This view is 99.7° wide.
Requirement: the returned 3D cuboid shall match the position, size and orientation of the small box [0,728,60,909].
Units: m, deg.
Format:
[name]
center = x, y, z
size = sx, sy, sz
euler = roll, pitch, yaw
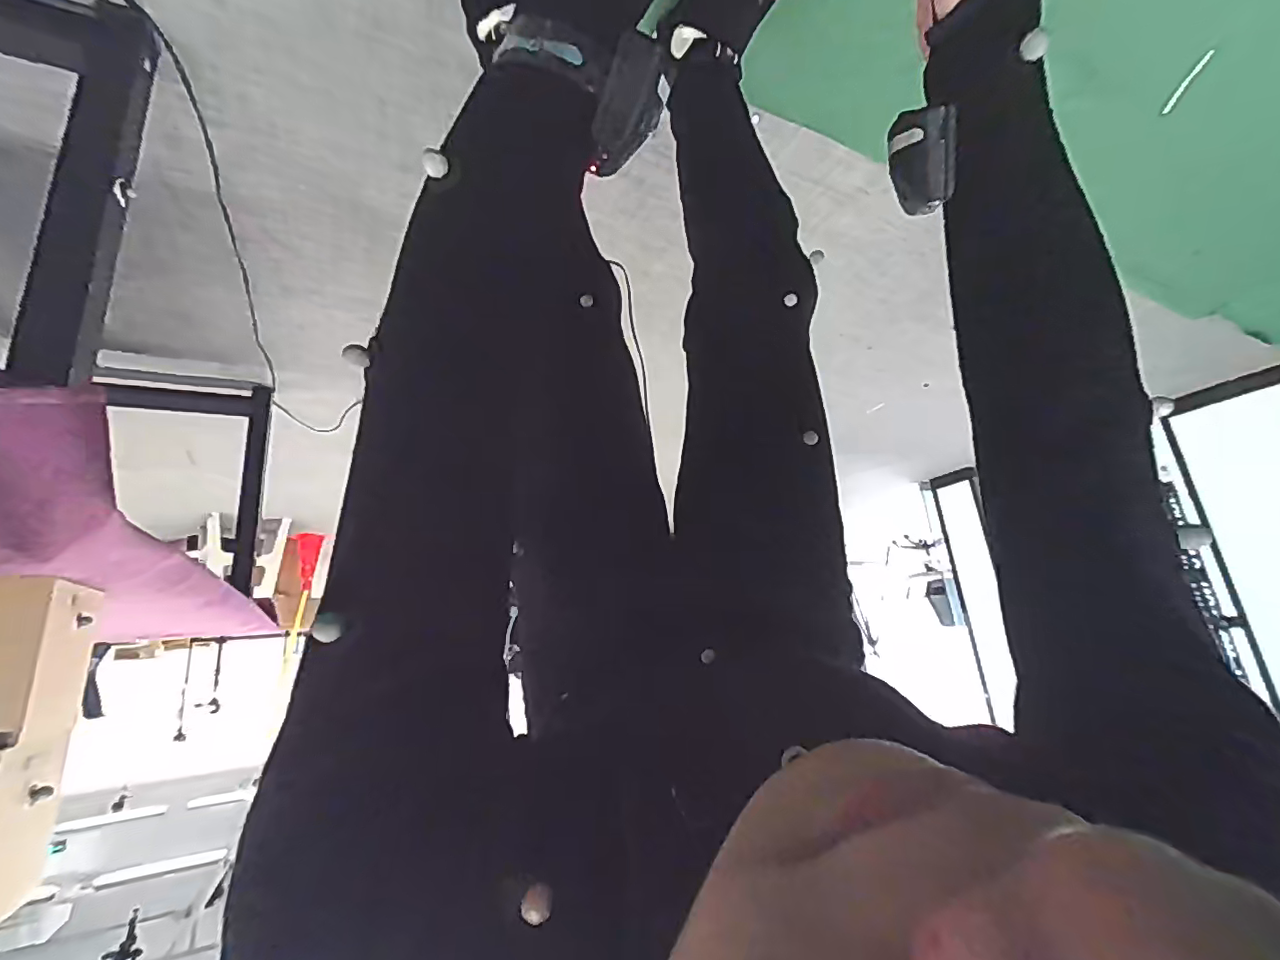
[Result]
[small box]
center = -0.711, 0.338, 0.508
size = 0.179, 0.176, 0.168
euler = 5, 163, -29
